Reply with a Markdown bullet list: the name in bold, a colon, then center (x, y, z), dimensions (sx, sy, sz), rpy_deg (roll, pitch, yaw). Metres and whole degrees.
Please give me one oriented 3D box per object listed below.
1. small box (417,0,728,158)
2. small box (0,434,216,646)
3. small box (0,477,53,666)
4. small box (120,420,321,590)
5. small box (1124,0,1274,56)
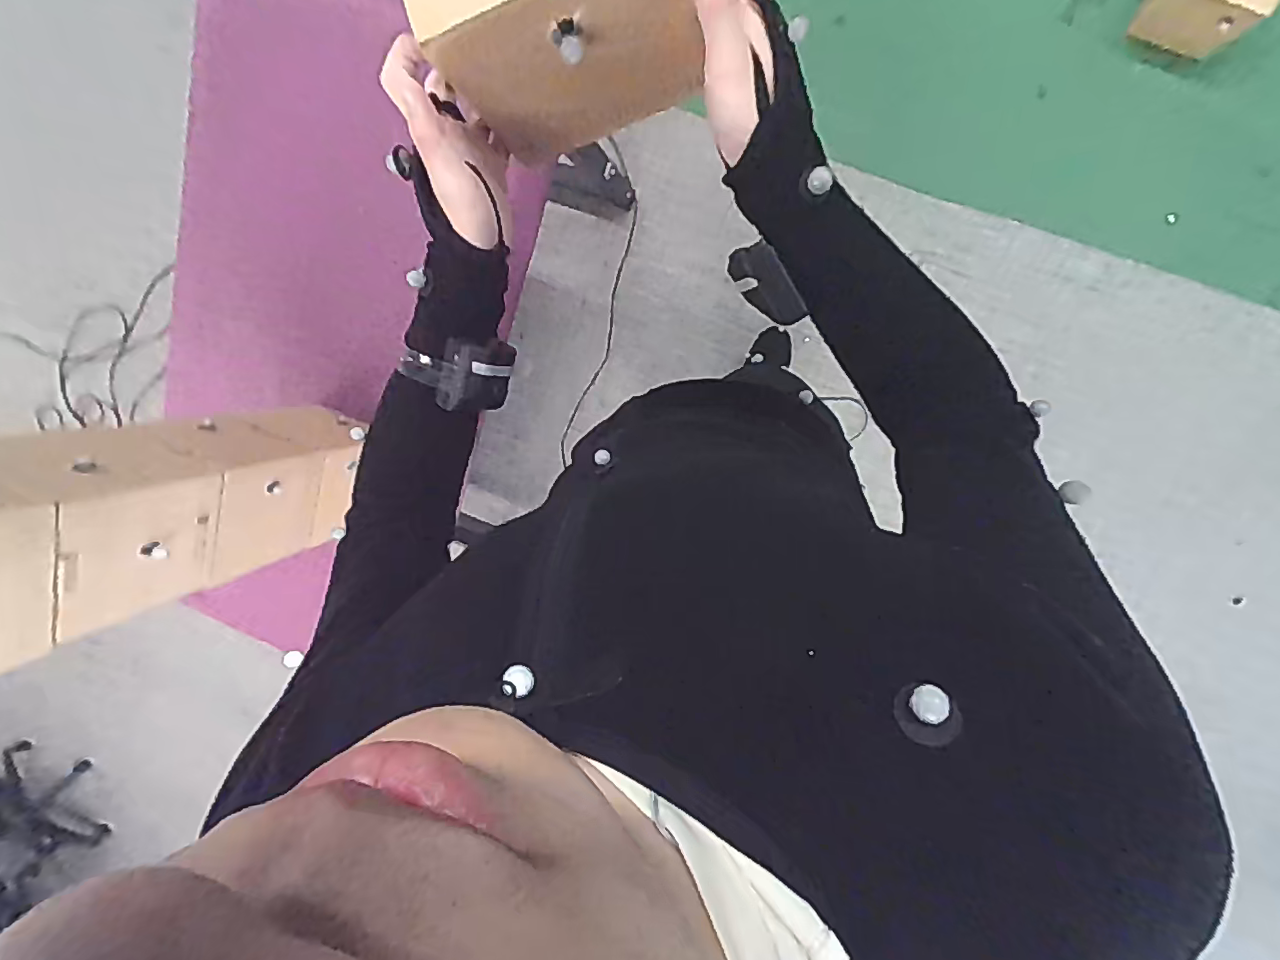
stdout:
- **small box**: center (-0.044, -0.352, 0.353), dimensions (0.179, 0.176, 0.168), rpy_deg (-15, 96, 12)
- **small box**: center (-0.640, 0.054, 0.625), dimensions (0.179, 0.176, 0.168), rpy_deg (20, 105, 7)
- **small box**: center (-0.671, 0.087, 0.467), dimensions (0.168, 0.176, 0.179), rpy_deg (20, 104, 8)
- **small box**: center (-0.600, 0.023, 0.780), dimensions (0.168, 0.176, 0.179), rpy_deg (22, 106, 7)
- **small box**: center (1.163, -1.010, 1.097), dimensions (0.179, 0.176, 0.168), rpy_deg (25, 106, 5)
